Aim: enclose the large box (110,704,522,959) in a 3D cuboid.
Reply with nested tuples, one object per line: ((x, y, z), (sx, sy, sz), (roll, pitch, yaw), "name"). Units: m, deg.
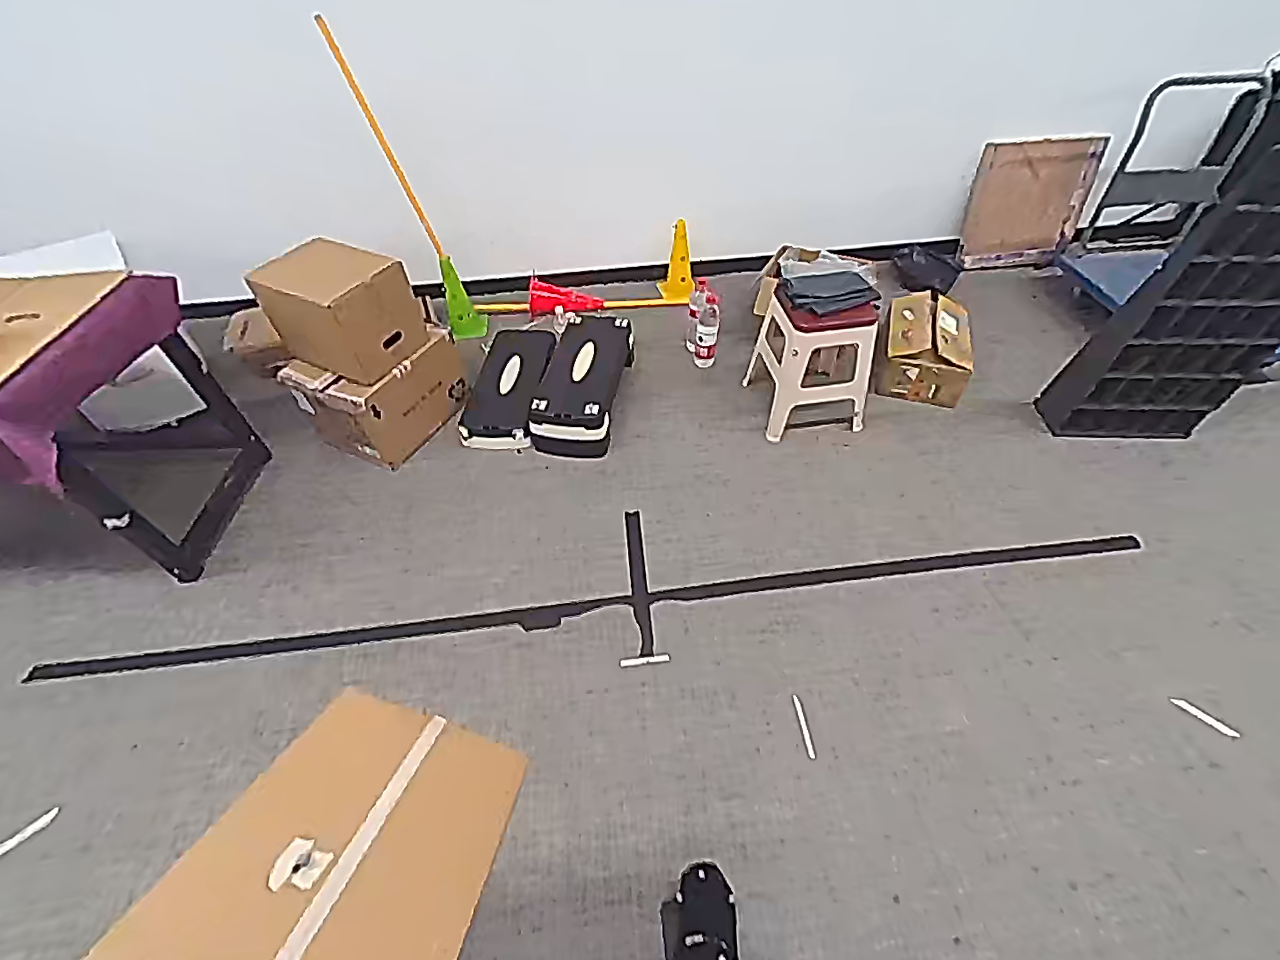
((-0.395, 0.594, 0.720), (0.320, 0.320, 0.408), (20, 14, -1), "large box")
